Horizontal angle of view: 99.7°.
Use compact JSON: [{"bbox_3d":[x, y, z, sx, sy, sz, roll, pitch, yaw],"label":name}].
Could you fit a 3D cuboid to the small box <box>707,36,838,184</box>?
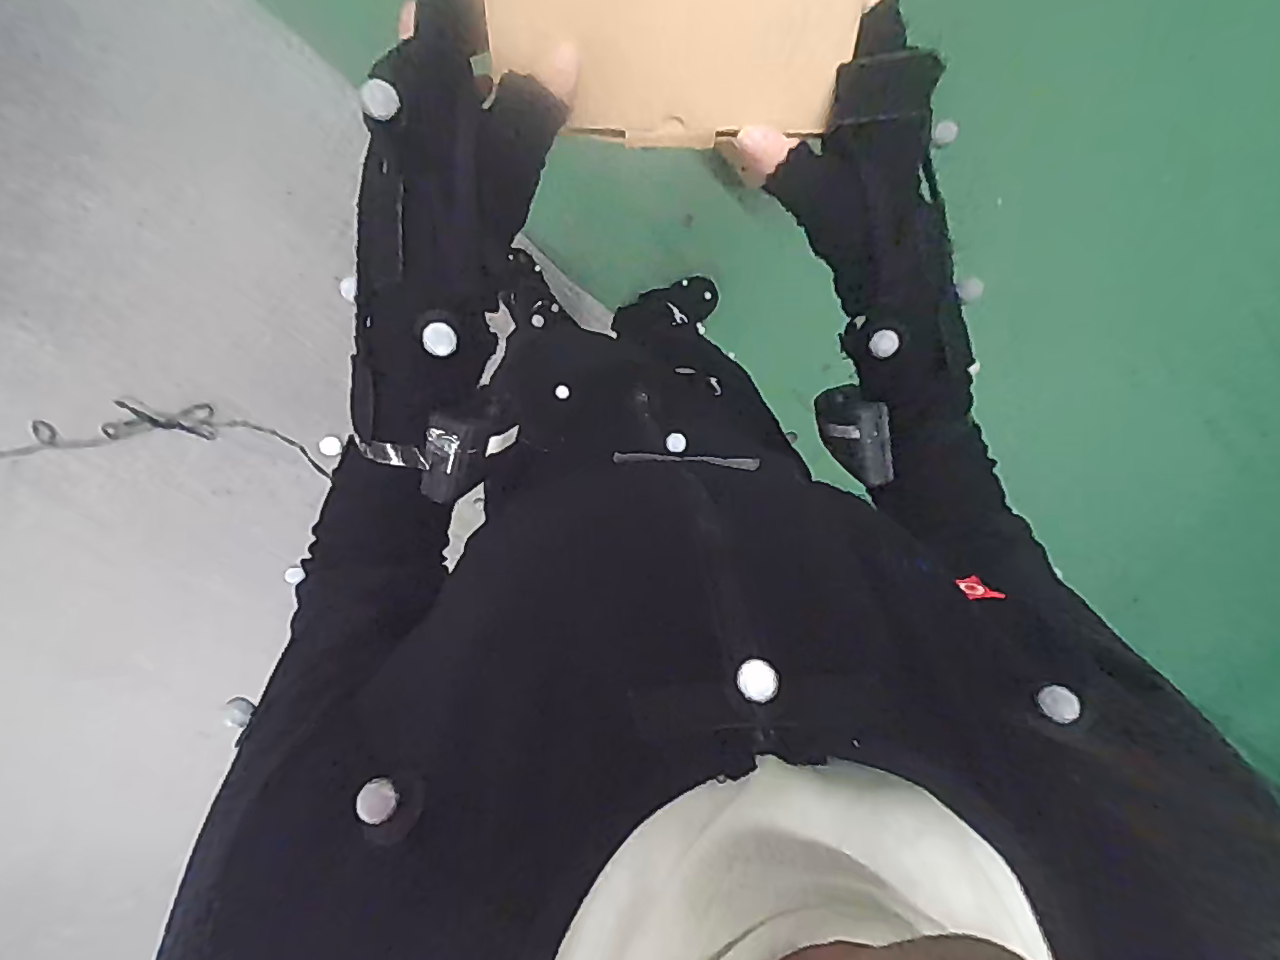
[{"bbox_3d":[0.250,-0.716,1.075,0.179,0.176,0.168,-40,114,14],"label":"small box"}]
